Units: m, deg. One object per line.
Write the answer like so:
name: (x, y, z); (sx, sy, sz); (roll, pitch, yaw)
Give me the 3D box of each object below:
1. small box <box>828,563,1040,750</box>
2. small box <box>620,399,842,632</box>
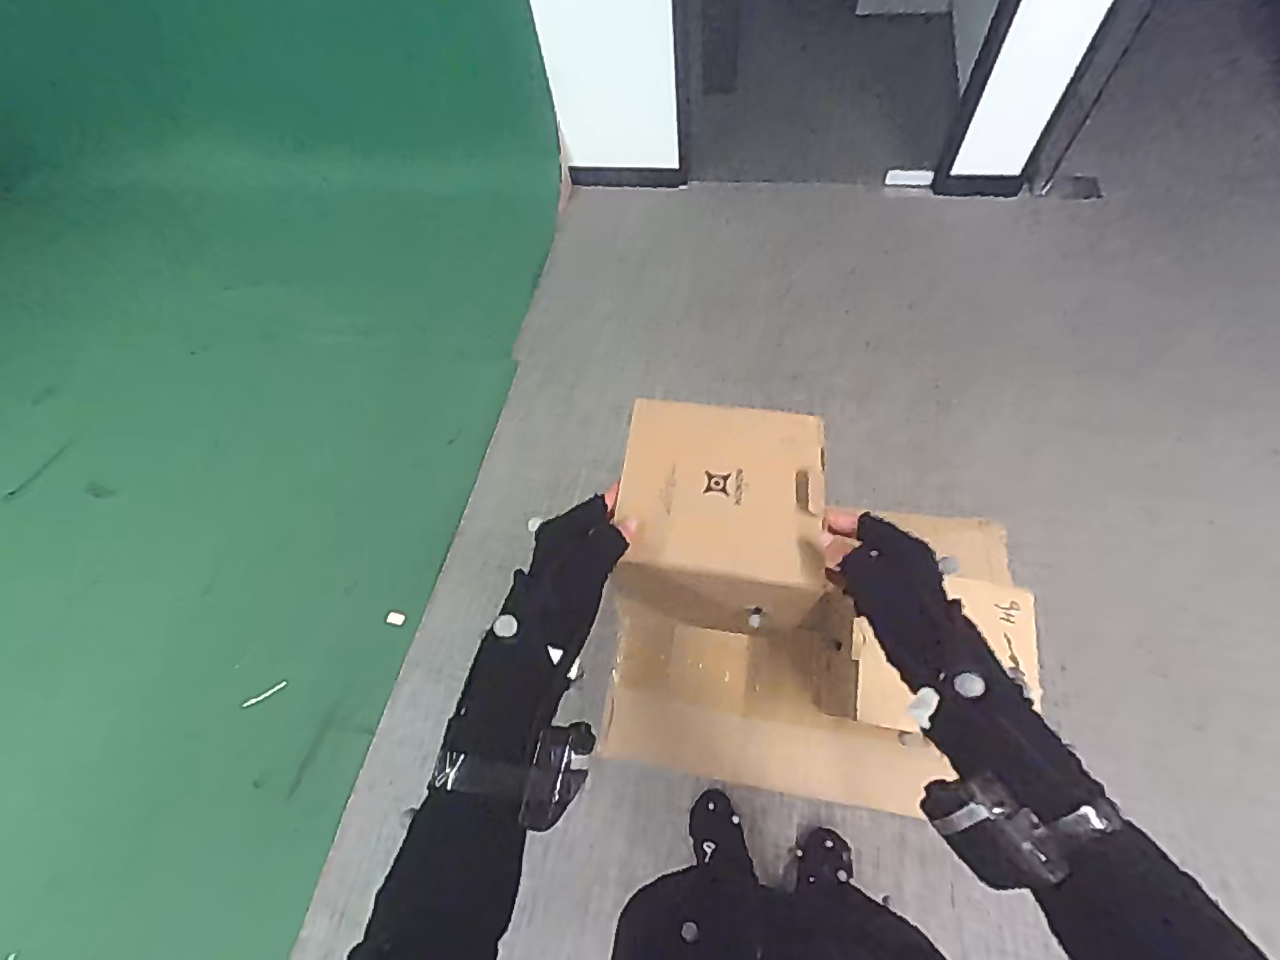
small box: (0.328, 0.208, 0.639); (0.179, 0.176, 0.168); (7, 69, 11)
small box: (0.083, 0.042, 0.530); (0.179, 0.176, 0.168); (5, 59, 6)
